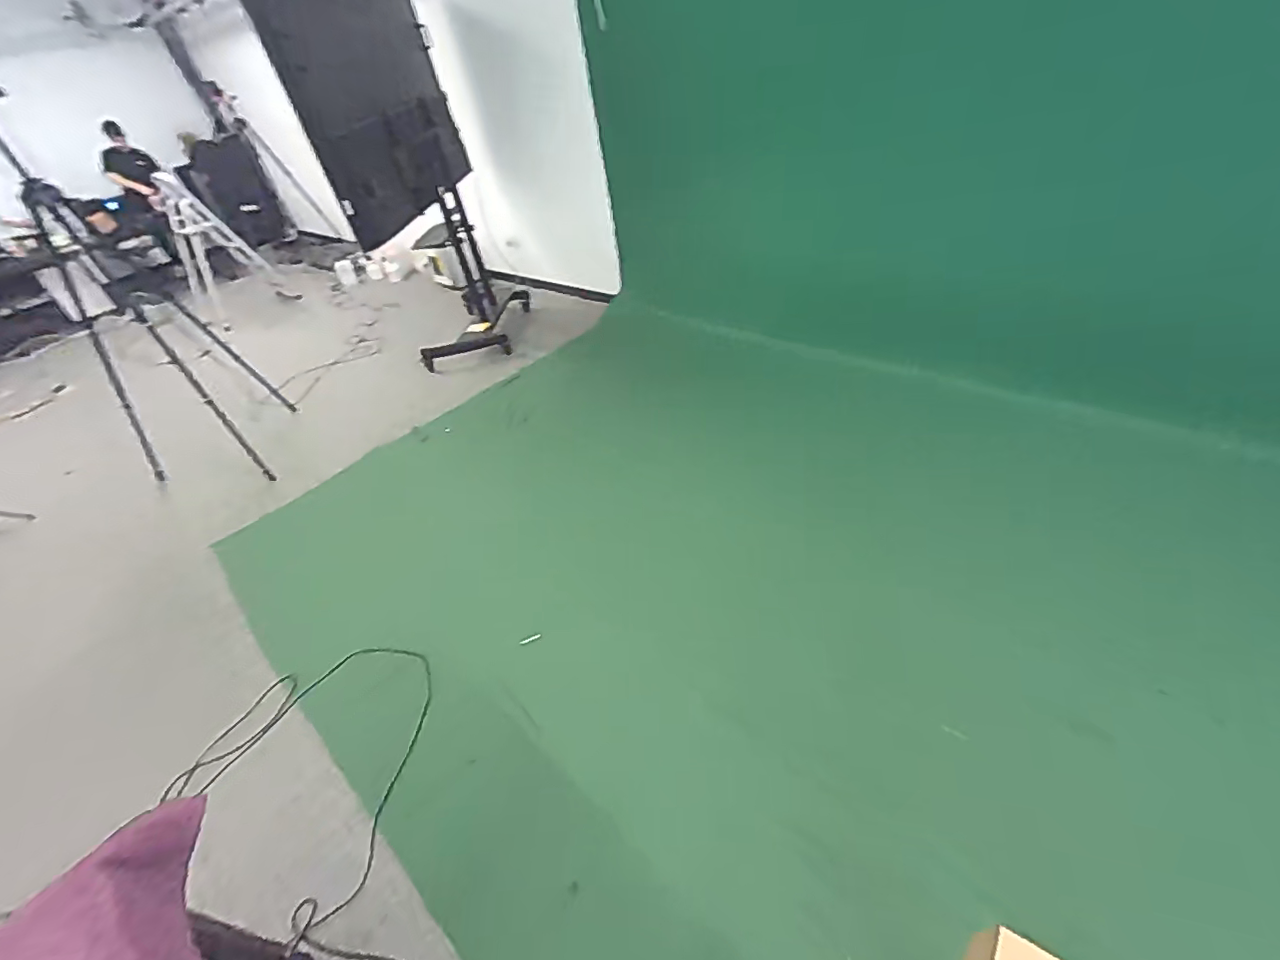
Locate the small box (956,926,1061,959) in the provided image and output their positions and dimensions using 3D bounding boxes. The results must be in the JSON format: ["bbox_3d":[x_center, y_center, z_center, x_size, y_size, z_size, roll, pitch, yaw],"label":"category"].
[{"bbox_3d":[0.436,0.620,0.571,0.179,0.176,0.168,21,56,30],"label":"small box"}]
